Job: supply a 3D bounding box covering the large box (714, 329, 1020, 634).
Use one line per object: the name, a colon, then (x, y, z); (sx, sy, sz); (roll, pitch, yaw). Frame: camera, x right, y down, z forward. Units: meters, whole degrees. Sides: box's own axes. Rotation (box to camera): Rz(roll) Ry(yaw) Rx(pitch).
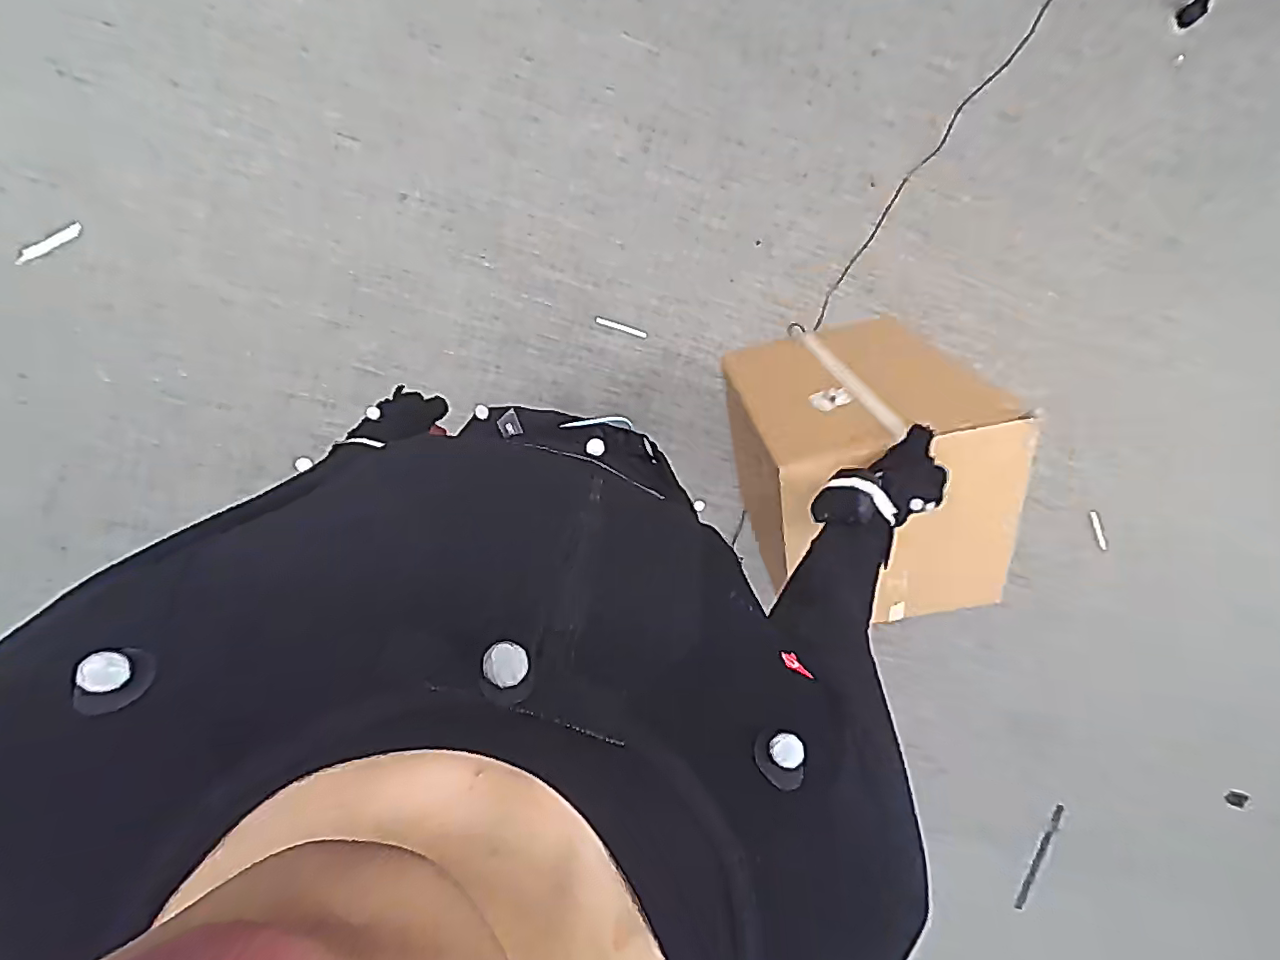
large box: (0.331, -0.017, 0.914); (0.320, 0.408, 0.320); (-13, 123, 3)
